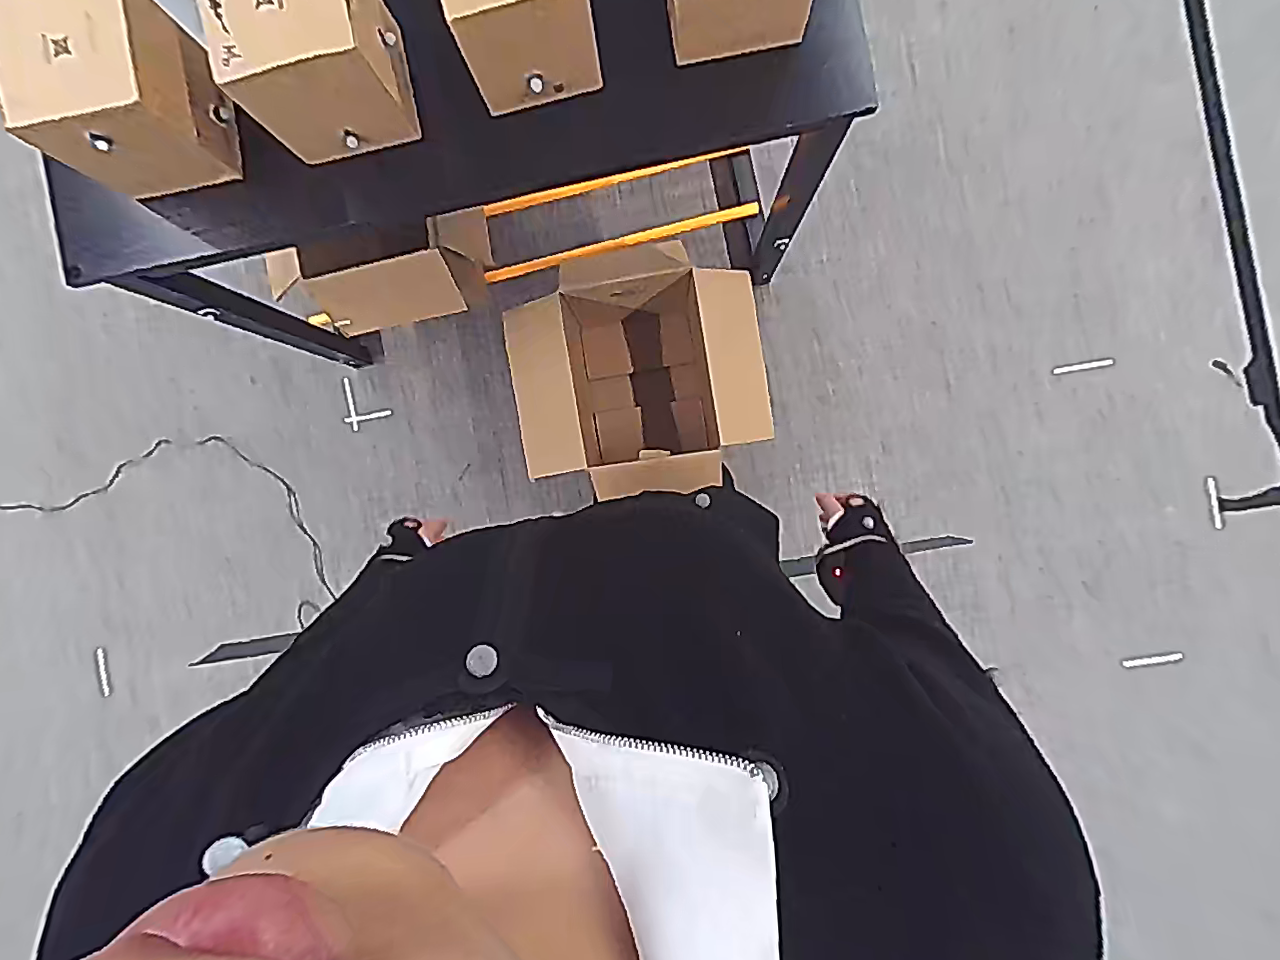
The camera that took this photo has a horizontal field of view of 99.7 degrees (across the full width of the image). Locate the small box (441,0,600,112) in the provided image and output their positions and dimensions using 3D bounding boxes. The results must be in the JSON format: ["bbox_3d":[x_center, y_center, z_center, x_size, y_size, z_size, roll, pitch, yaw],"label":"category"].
[{"bbox_3d":[-0.153,-0.617,0.680,0.168,0.176,0.179,-13,90,3],"label":"small box"}]

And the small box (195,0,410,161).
[{"bbox_3d":[-0.417,-0.549,0.693,0.179,0.176,0.168,-12,90,2],"label":"small box"}]

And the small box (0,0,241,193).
[{"bbox_3d":[-0.676,-0.503,0.705,0.179,0.176,0.168,-10,91,2],"label":"small box"}]

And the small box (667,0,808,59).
[{"bbox_3d":[0.121,-0.670,0.665,0.179,0.176,0.168,-8,89,3],"label":"small box"}]
